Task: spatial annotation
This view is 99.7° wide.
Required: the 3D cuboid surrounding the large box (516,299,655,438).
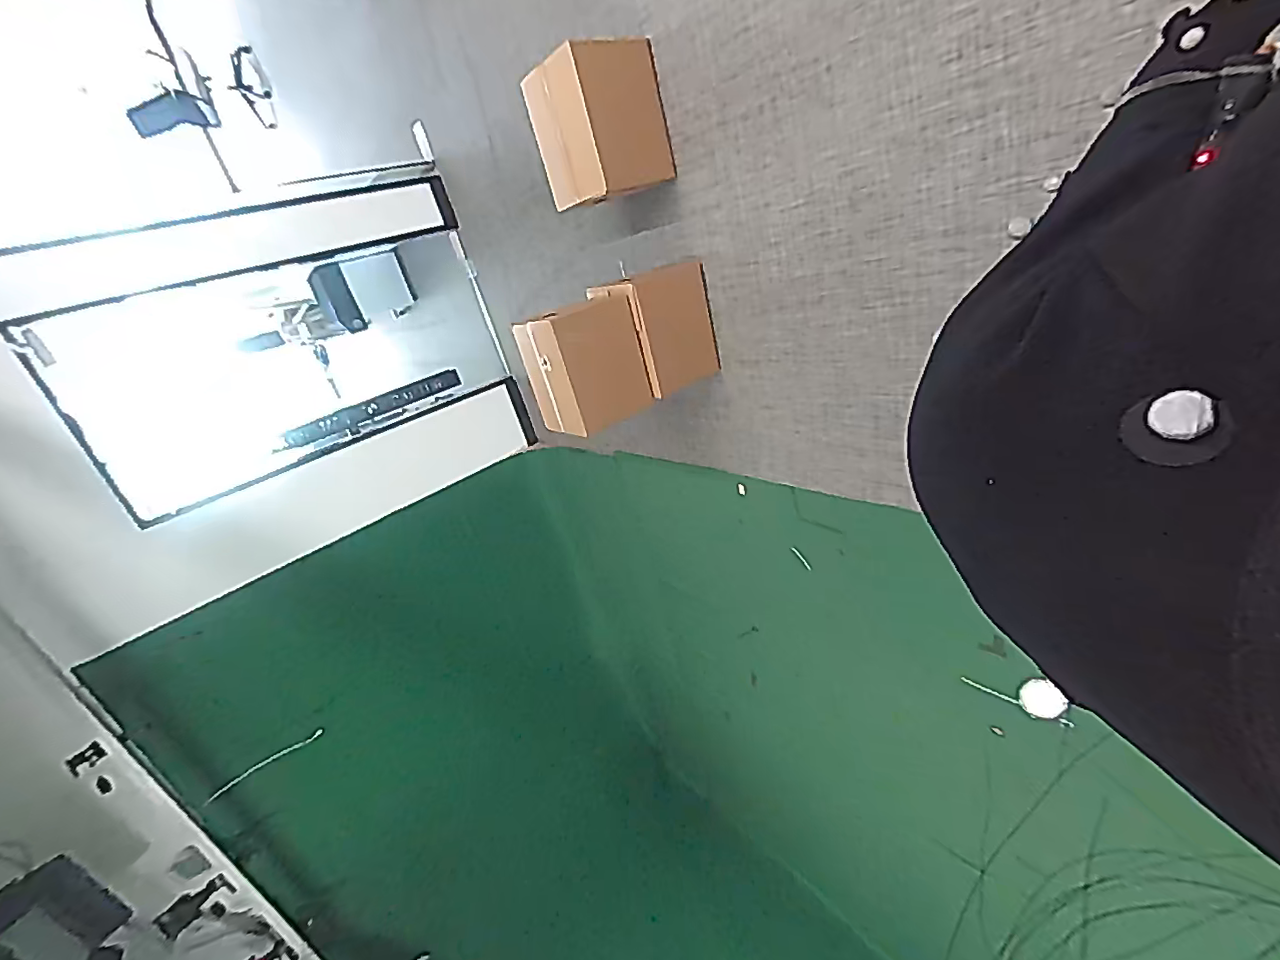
[{"bbox_3d":[-0.191,-0.402,1.943,0.320,0.320,0.408,17,129,53],"label":"large box"}]
